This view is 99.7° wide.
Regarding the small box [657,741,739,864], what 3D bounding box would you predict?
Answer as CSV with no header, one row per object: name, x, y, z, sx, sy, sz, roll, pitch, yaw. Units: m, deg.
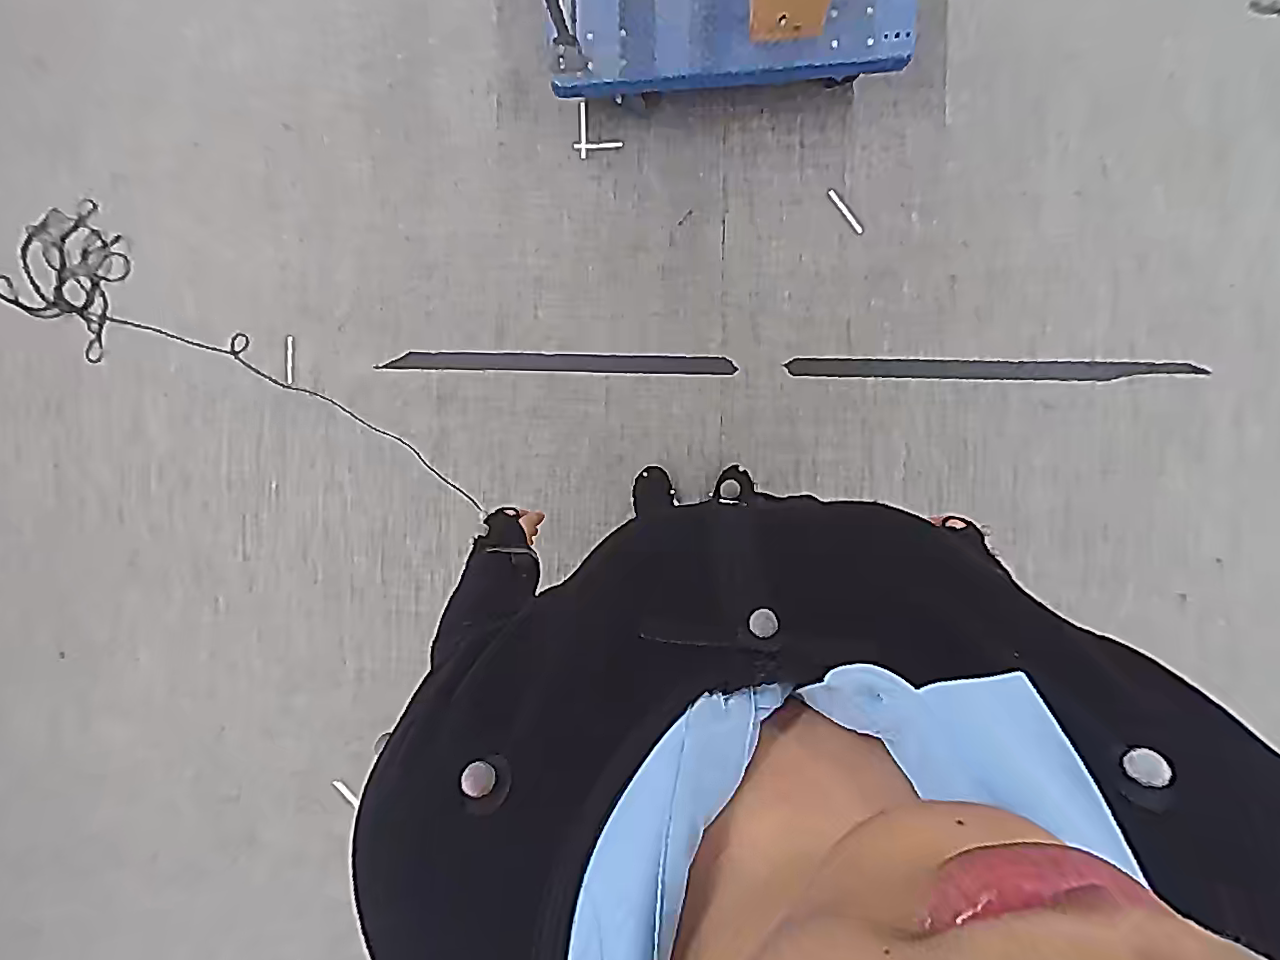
small box,0.135,0.749,1.272,0.168,0.176,0.179,6,91,4

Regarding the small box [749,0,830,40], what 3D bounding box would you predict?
small box,0.331,-1.122,1.185,0.168,0.176,0.179,-1,92,6
